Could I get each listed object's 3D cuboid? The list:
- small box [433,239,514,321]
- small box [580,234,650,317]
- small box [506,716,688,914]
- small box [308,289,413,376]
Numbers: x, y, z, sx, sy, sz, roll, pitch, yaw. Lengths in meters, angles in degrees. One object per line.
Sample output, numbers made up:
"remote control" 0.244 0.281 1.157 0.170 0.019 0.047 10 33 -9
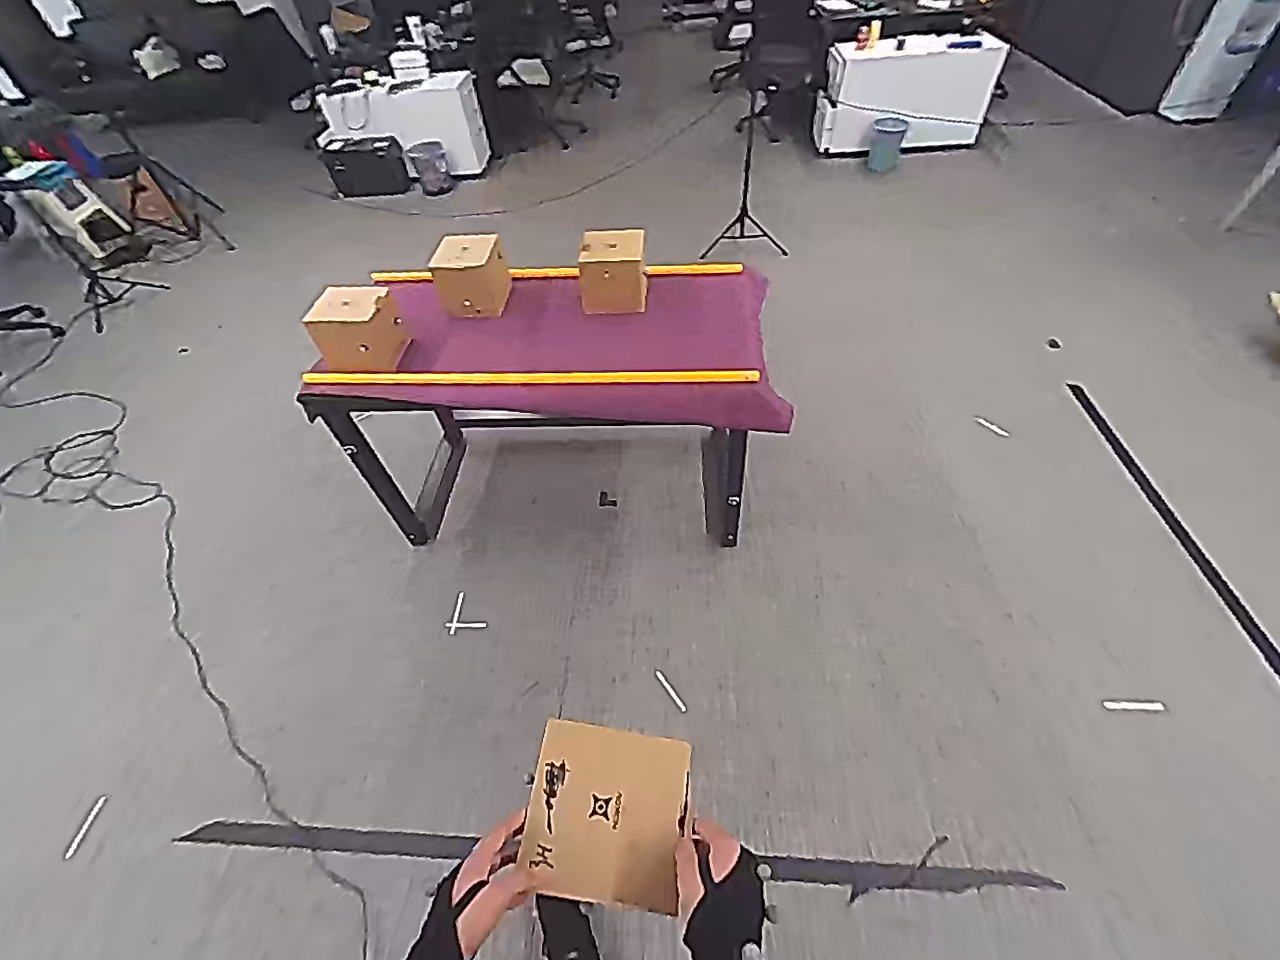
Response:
"small box" -0.487 -0.597 1.615 0.168 0.176 0.179 0 52 6
"small box" -0.065 -0.593 1.575 0.179 0.176 0.168 0 51 6
"small box" -0.050 0.406 0.661 0.179 0.176 0.168 11 54 -1
"small box" -0.744 -0.398 1.468 0.179 0.176 0.168 1 49 3
